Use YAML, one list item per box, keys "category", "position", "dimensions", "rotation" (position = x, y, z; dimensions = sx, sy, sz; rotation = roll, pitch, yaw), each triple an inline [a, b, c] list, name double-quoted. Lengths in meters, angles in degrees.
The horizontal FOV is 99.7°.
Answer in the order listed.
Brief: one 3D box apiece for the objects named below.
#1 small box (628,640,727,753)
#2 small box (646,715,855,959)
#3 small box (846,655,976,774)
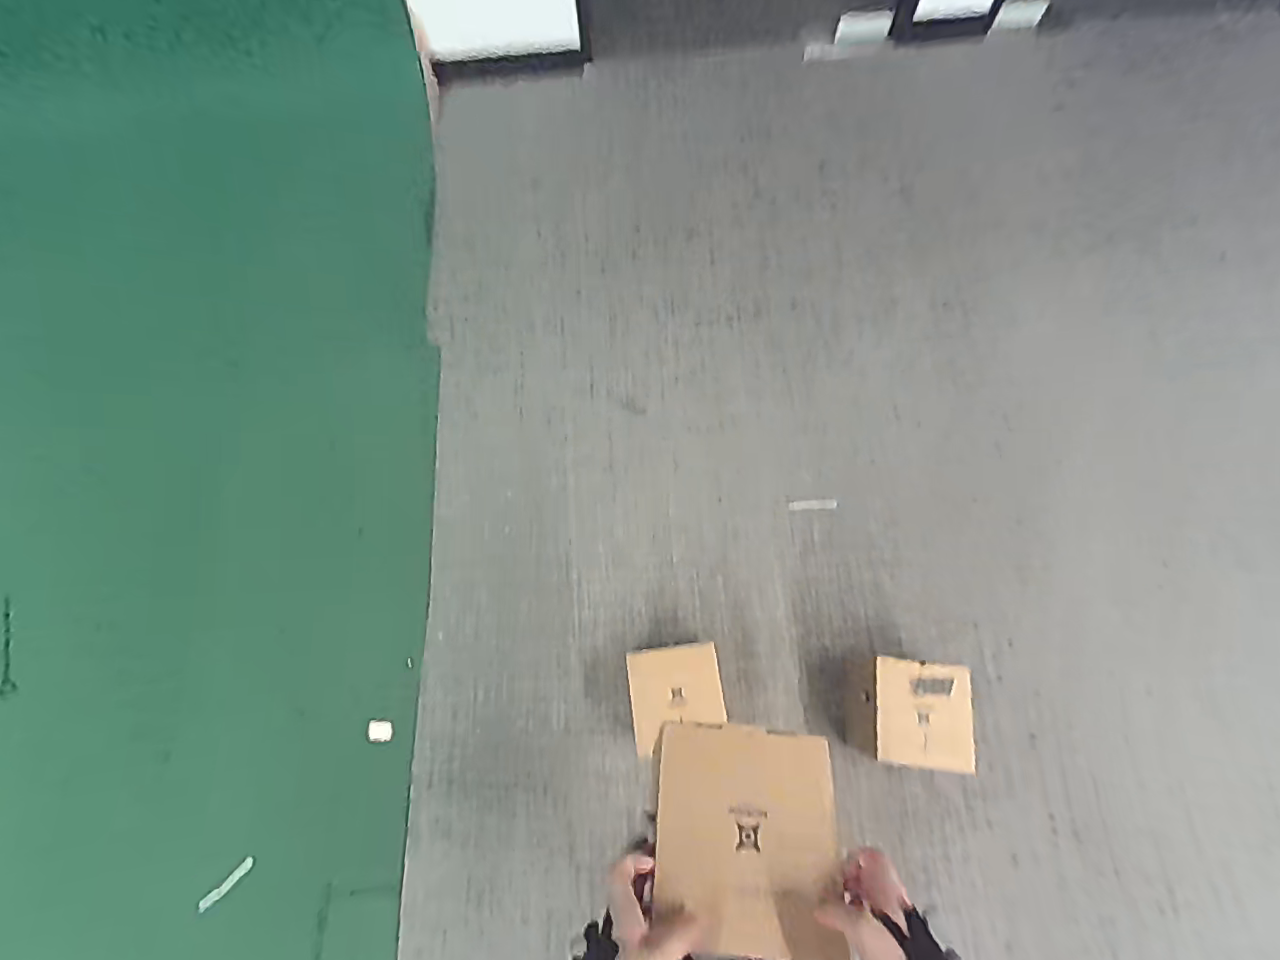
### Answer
- category: "small box"
  position: [0.068, 0.409, 1.035]
  dimensions: [0.168, 0.176, 0.179]
  rotation: [-7, 71, 0]
- category: "small box"
  position: [0.094, 0.352, 0.542]
  dimensions: [0.168, 0.176, 0.179]
  rotation: [4, 56, 2]
- category: "small box"
  position: [0.496, 0.429, 1.013]
  dimensions: [0.168, 0.176, 0.179]
  rotation: [6, 72, 4]
